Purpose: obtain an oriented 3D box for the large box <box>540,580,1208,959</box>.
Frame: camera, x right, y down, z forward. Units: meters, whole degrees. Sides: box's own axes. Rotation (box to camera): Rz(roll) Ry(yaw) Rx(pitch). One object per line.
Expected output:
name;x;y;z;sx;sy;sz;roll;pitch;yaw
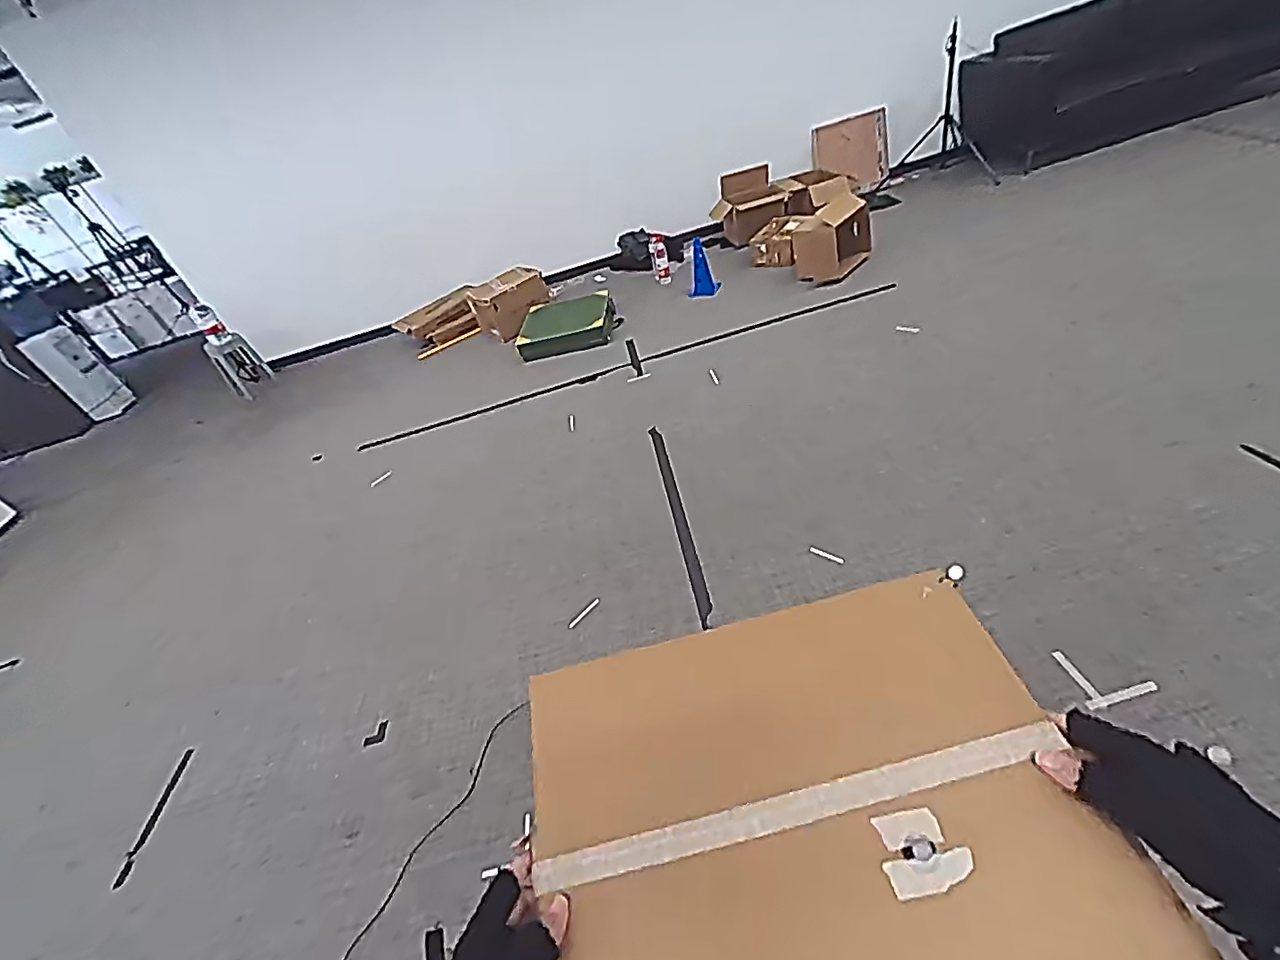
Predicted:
large box;0.149;0.355;0.521;0.408;0.320;0.320;-15;47;-1
